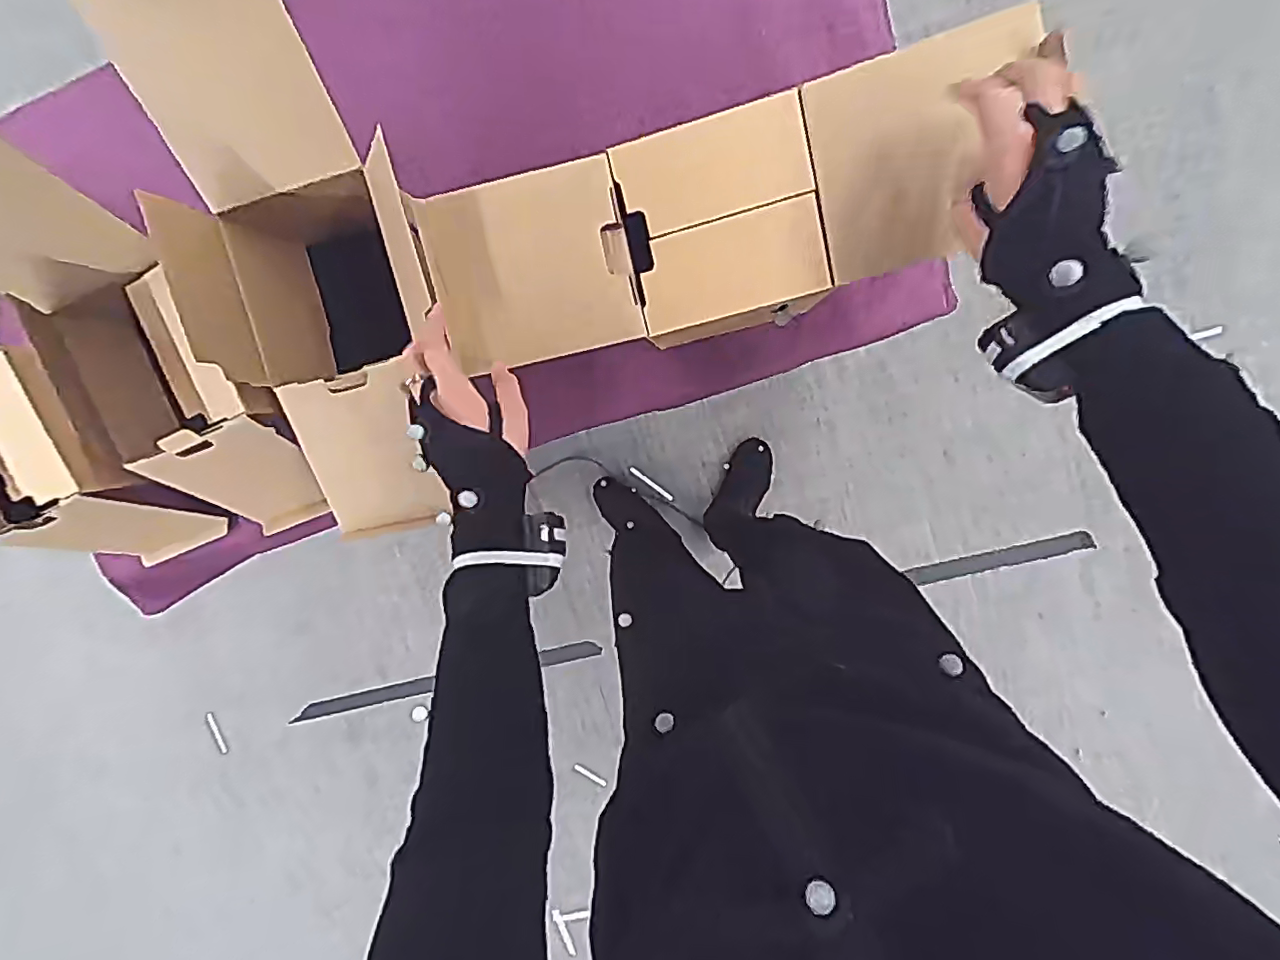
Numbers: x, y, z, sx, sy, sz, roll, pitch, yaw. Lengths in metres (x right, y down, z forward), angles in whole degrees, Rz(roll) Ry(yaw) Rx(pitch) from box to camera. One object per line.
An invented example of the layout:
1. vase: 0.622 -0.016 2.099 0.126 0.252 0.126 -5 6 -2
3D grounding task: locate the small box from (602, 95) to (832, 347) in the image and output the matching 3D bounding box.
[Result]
1. small box: 0.076 -0.239 0.548 0.179 0.176 0.168 -12 98 9
